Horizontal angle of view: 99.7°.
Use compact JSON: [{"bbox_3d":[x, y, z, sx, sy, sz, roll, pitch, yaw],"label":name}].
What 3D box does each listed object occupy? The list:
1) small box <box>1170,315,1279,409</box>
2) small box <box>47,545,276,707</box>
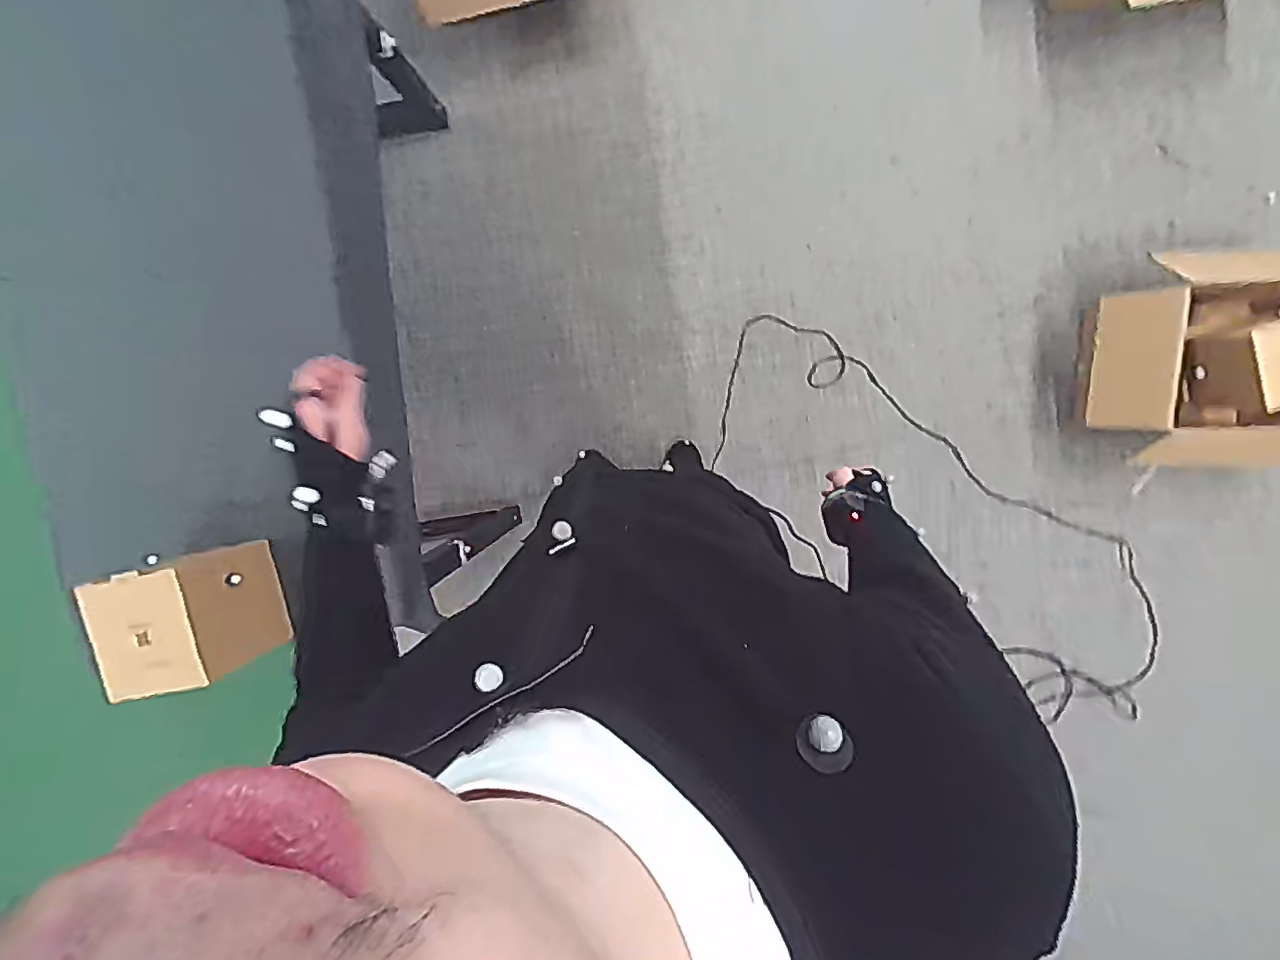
[{"bbox_3d":[1.309,-0.253,1.157,0.179,0.176,0.168,-15,95,5],"label":"small box"},{"bbox_3d":[-0.696,0.204,0.808,0.168,0.176,0.179,-12,97,6],"label":"small box"}]
